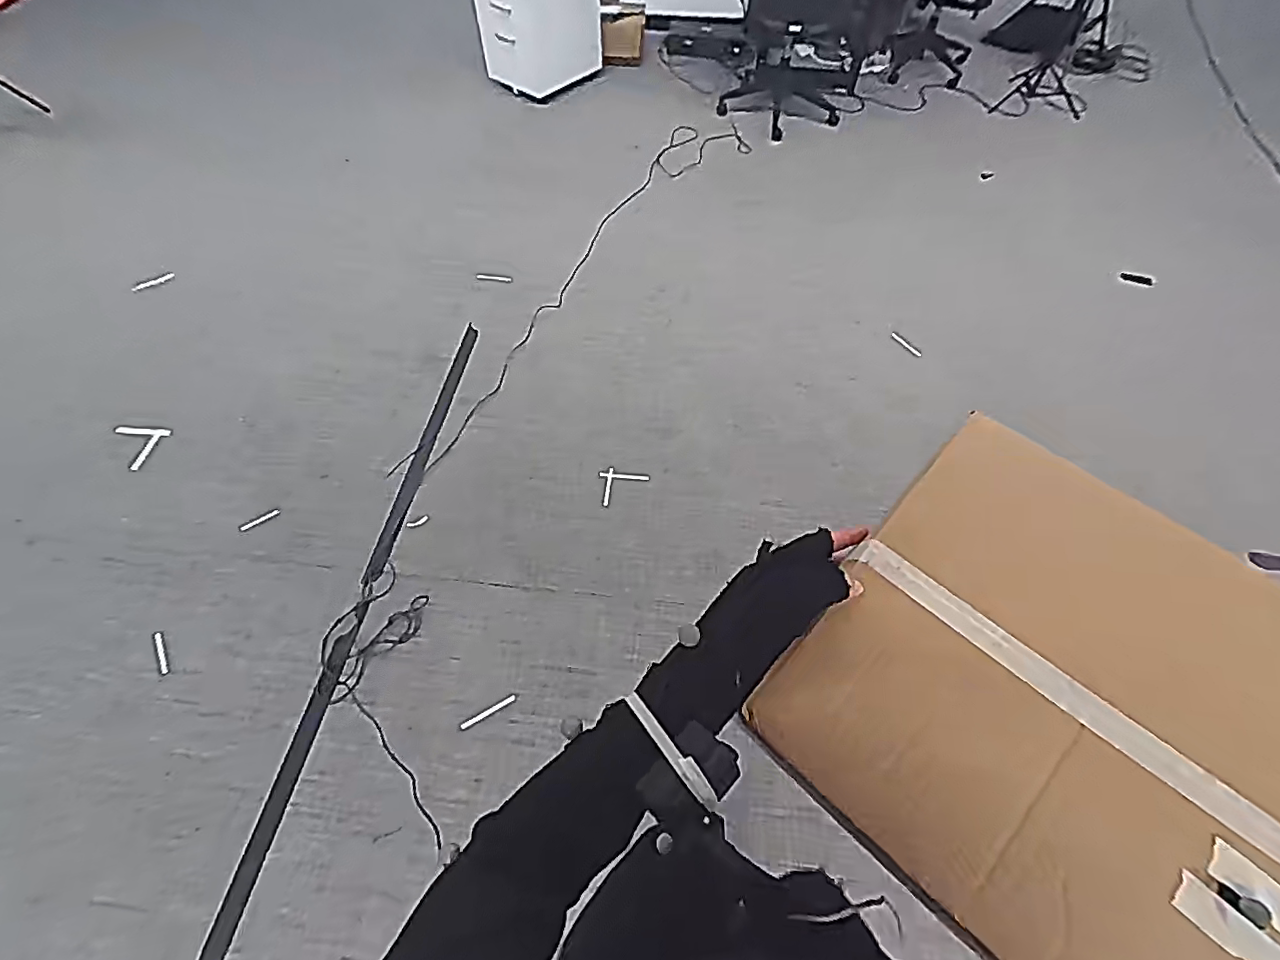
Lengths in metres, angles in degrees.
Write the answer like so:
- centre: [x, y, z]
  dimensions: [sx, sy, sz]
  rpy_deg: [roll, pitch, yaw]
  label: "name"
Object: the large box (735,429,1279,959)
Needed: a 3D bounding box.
- centre: [0.339, 0.232, 0.490]
  dimensions: [0.408, 0.320, 0.320]
  rpy_deg: [39, 78, 21]
  label: "large box"
